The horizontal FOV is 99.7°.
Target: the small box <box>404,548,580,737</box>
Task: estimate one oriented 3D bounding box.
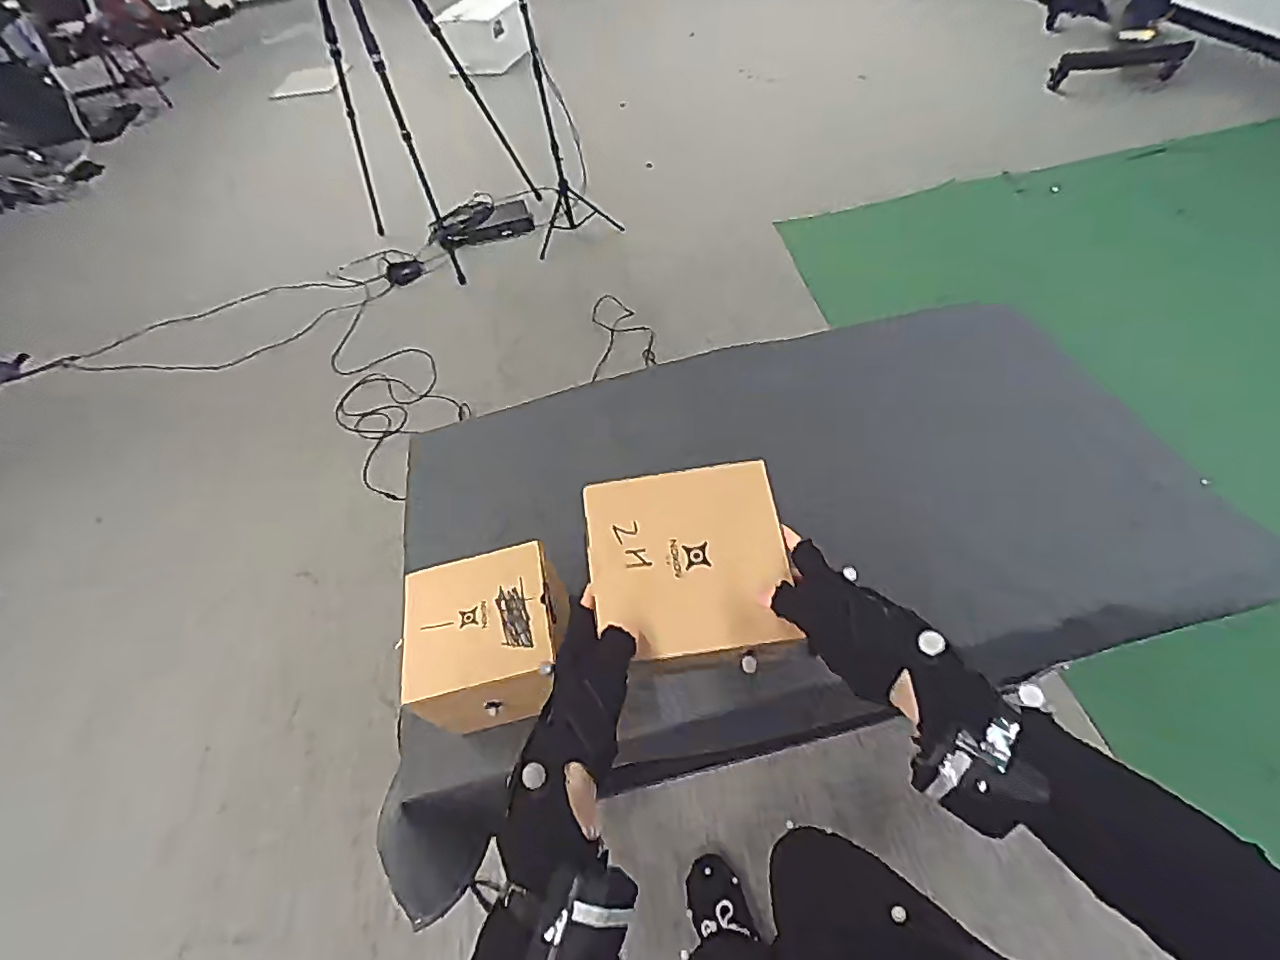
[{"bbox_3d":[-0.181,0.215,0.702,0.179,0.176,0.168,-14,53,-2],"label":"small box"}]
